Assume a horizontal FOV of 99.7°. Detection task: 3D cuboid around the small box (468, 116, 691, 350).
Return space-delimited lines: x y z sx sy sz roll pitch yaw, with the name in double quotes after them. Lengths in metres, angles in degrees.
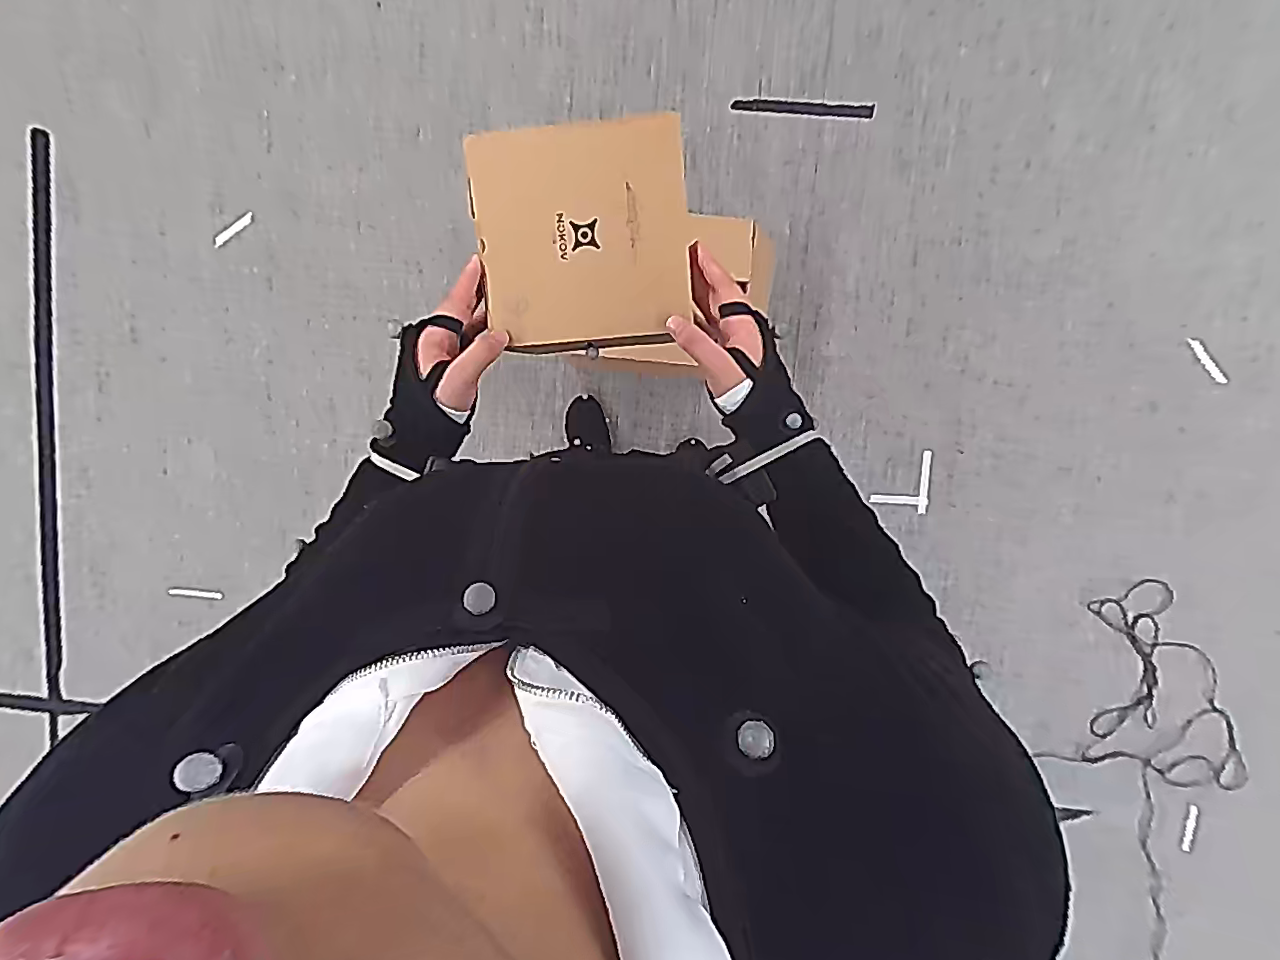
-0.045 -0.219 0.526 0.179 0.176 0.168 -5 102 3 "small box"
